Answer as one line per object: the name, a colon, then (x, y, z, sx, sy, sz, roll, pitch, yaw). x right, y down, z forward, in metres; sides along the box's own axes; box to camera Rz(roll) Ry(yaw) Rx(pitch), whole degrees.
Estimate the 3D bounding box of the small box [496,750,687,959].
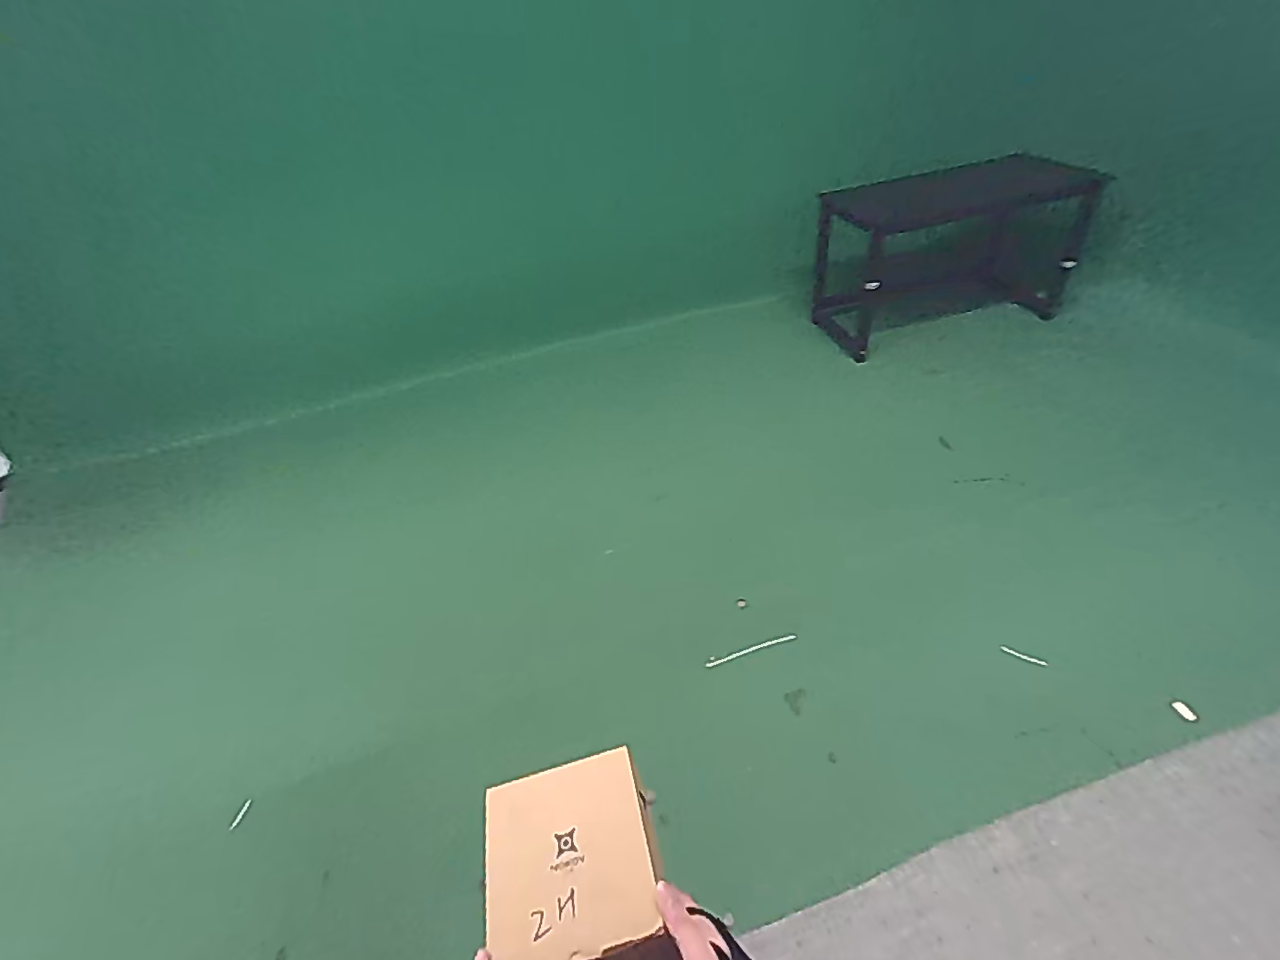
small box: (-0.053, 0.439, 0.595, 0.168, 0.176, 0.179, -15, 40, -4)
